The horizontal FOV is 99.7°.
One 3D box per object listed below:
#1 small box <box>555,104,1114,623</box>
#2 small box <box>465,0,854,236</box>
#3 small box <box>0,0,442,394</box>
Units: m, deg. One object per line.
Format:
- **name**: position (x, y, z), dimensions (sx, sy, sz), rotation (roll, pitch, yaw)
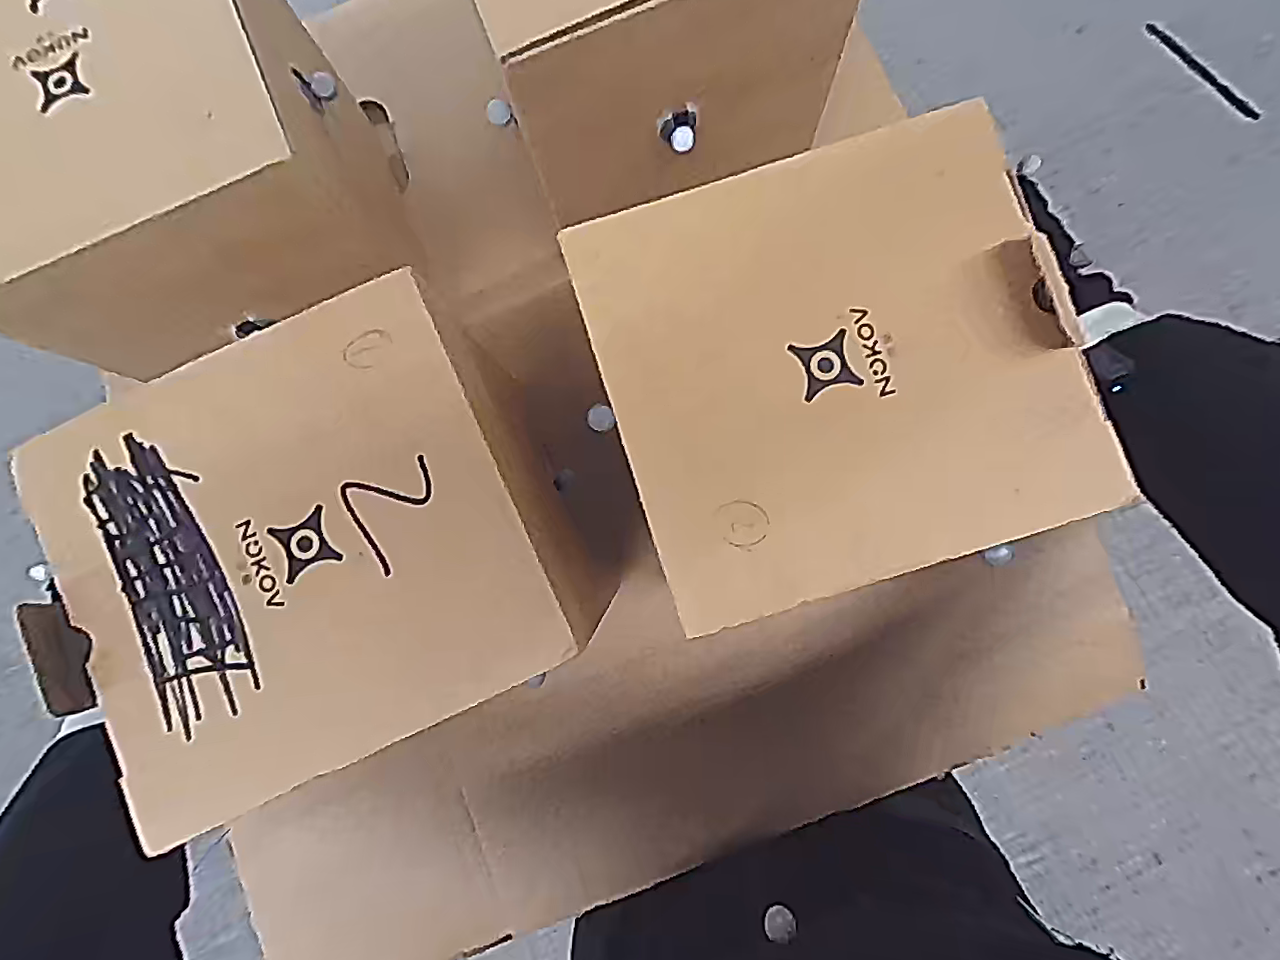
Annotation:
- **small box**: position (0.073, -0.040, 0.286), dimensions (0.179, 0.176, 0.168), rotation (-17, 86, 0)
- **small box**: position (-0.002, -0.266, 0.315), dimensions (0.179, 0.176, 0.168), rotation (-21, 81, 2)
- **small box**: position (-0.246, -0.166, 0.321), dimensions (0.168, 0.176, 0.179), rotation (-23, 81, 0)
